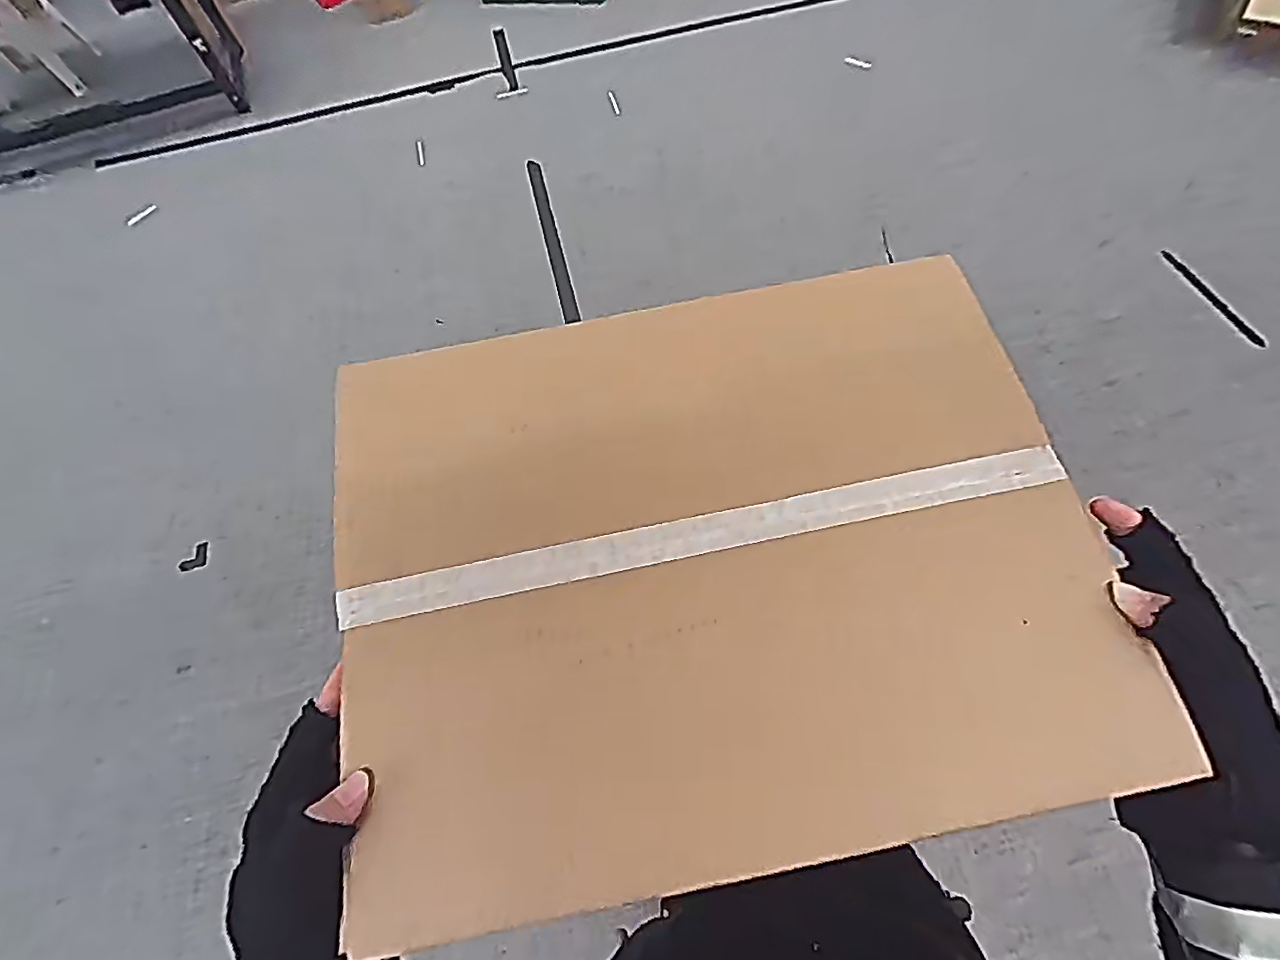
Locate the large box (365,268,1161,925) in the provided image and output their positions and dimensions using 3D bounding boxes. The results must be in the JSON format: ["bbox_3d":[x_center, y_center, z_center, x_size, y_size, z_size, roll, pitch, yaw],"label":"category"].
[{"bbox_3d":[0.045,0.085,0.454,0.408,0.320,0.320,-11,70,-2],"label":"large box"}]
